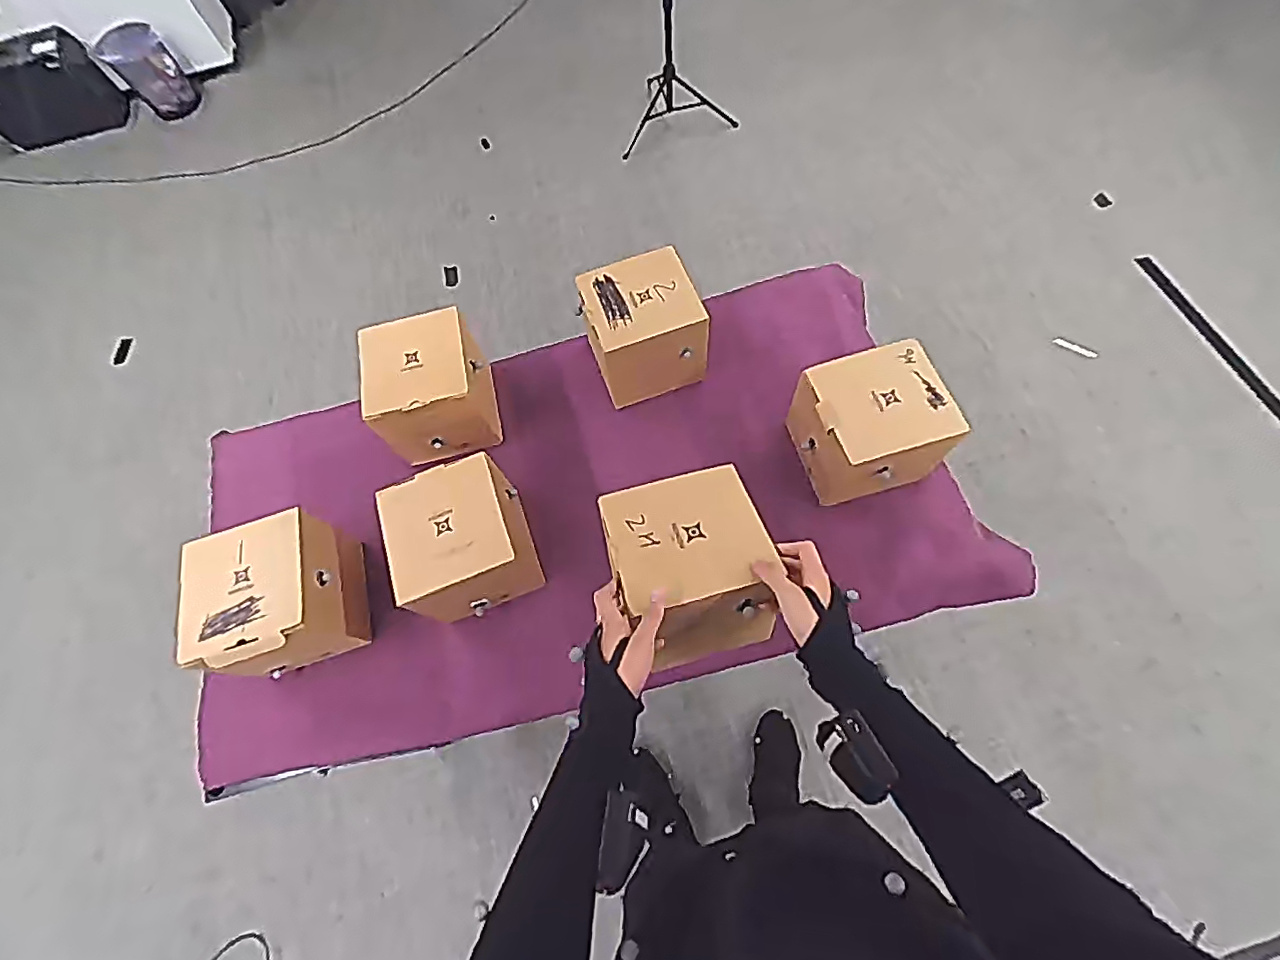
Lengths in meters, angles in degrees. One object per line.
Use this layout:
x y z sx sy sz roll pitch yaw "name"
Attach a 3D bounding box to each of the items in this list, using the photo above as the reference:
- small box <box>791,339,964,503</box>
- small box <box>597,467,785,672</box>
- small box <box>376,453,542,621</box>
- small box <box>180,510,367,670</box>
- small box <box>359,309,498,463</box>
0.343 -0.082 0.830 0.179 0.176 0.168 -16 67 0 "small box"
0.055 0.114 0.670 0.179 0.176 0.168 -14 51 -7 "small box"
-0.264 0.092 0.812 0.168 0.176 0.179 -22 67 -3 "small box"
-0.527 0.172 0.799 0.168 0.176 0.179 -18 66 -3 "small box"
-0.353 -0.154 0.920 0.168 0.176 0.179 -14 67 -2 "small box"
